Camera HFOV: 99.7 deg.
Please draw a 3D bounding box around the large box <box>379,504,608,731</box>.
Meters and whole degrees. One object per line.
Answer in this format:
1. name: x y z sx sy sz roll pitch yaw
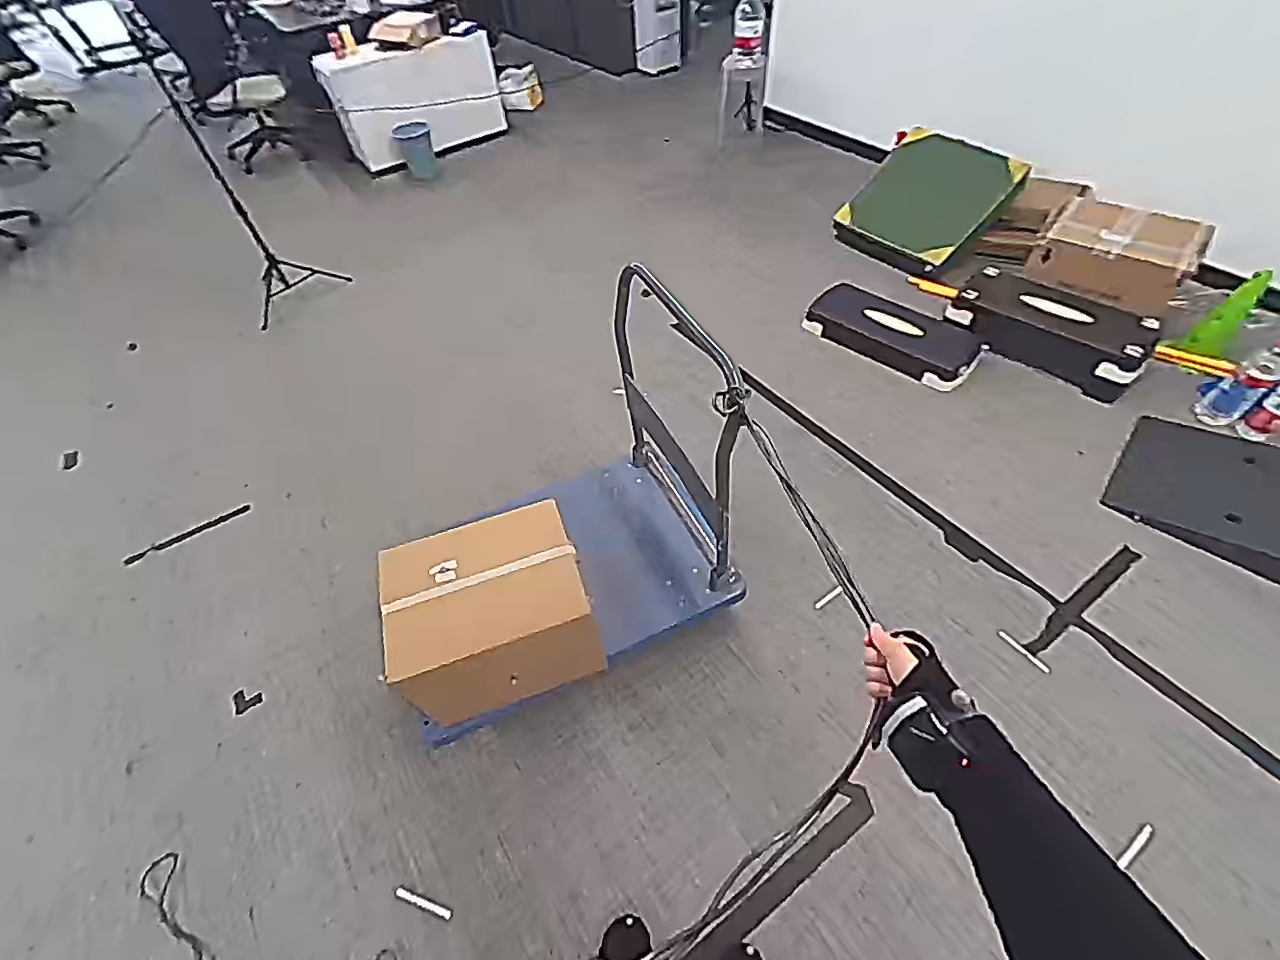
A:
1. large box: -0.321 0.316 1.239 0.408 0.320 0.320 -18 51 -9
